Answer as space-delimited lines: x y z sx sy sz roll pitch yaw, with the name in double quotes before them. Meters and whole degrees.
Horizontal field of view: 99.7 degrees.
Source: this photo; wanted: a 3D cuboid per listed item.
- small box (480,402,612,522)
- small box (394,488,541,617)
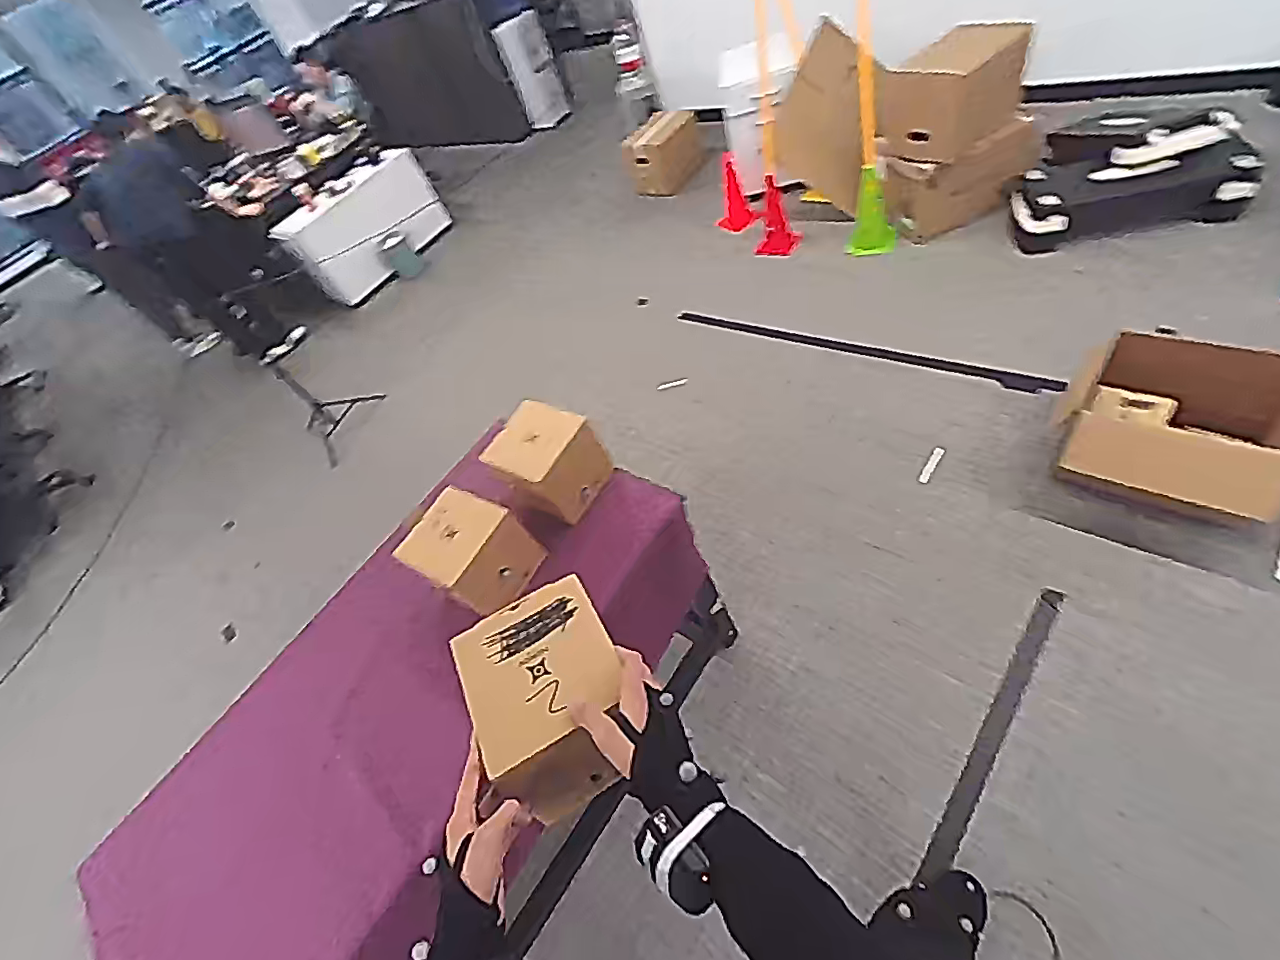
"small box" -0.190 -0.035 1.133 0.179 0.176 0.168 19 65 33
"small box" -0.325 0.145 1.051 0.179 0.176 0.168 17 62 32
